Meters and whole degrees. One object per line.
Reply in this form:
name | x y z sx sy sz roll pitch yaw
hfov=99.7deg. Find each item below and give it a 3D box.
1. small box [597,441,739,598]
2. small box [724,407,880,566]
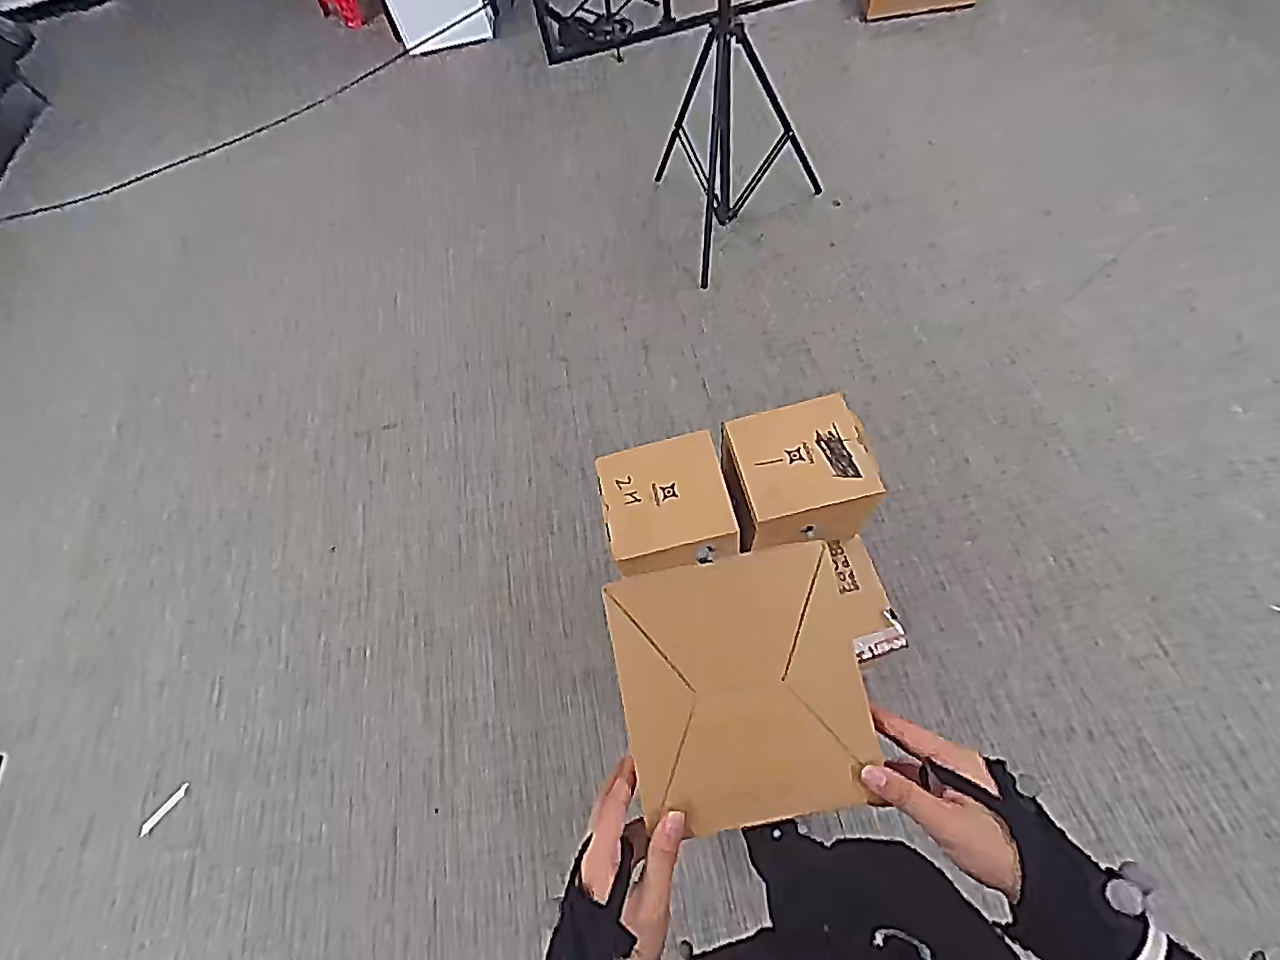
small box | 0.047 0.067 0.828 0.179 0.176 0.168 -15 62 4
small box | 0.230 0.016 0.825 0.179 0.176 0.168 -14 63 1
